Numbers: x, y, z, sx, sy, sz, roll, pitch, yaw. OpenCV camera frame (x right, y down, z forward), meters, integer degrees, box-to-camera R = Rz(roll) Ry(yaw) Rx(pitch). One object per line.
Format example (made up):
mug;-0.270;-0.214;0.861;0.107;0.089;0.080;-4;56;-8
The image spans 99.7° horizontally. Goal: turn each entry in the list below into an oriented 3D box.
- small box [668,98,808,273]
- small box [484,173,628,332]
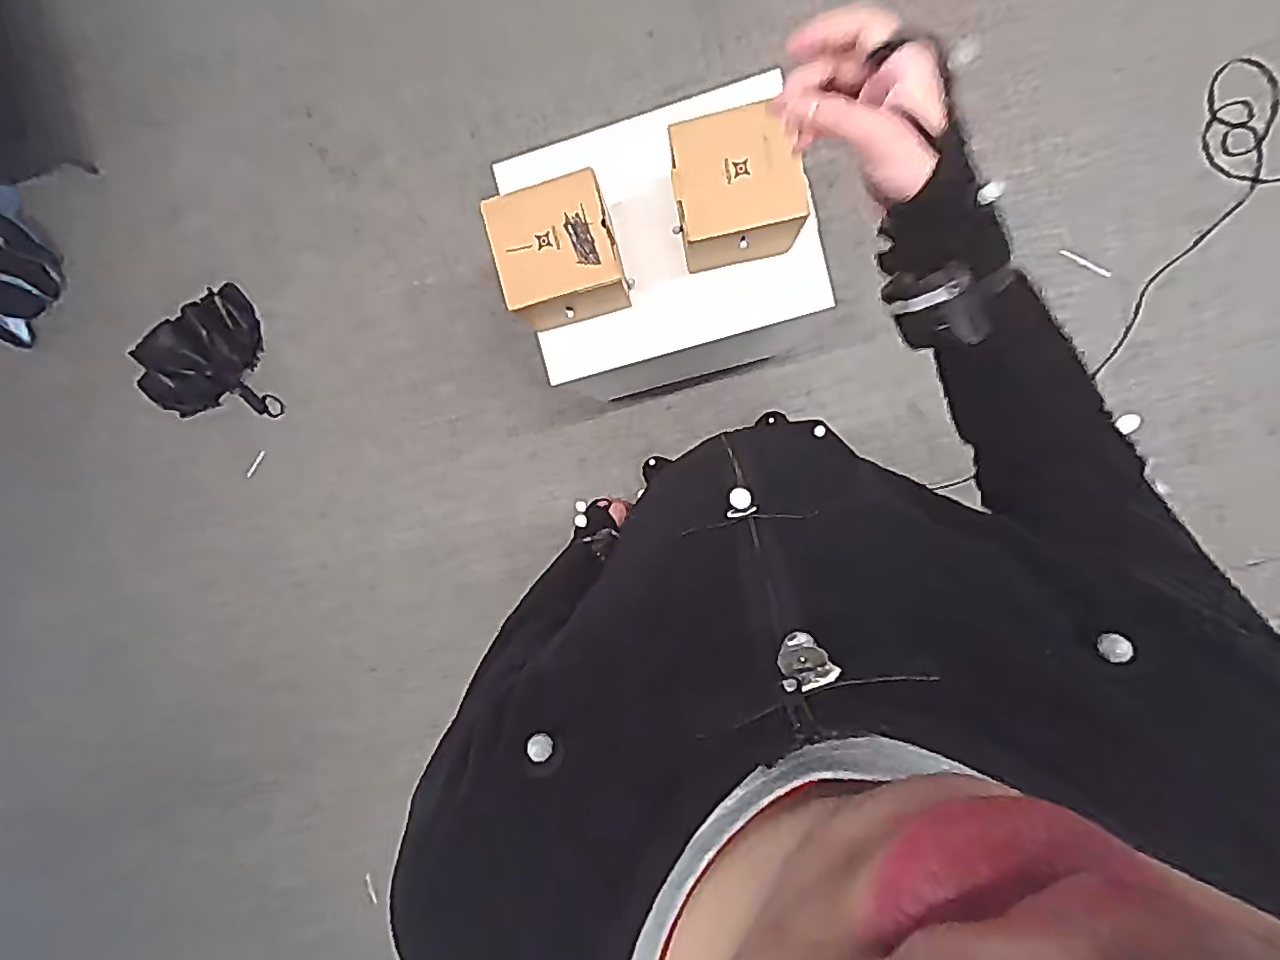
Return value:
small box;0.146;-0.437;0.835;0.179;0.176;0.168;-10;95;6
small box;-0.121;-0.351;0.868;0.179;0.176;0.168;-14;93;7
